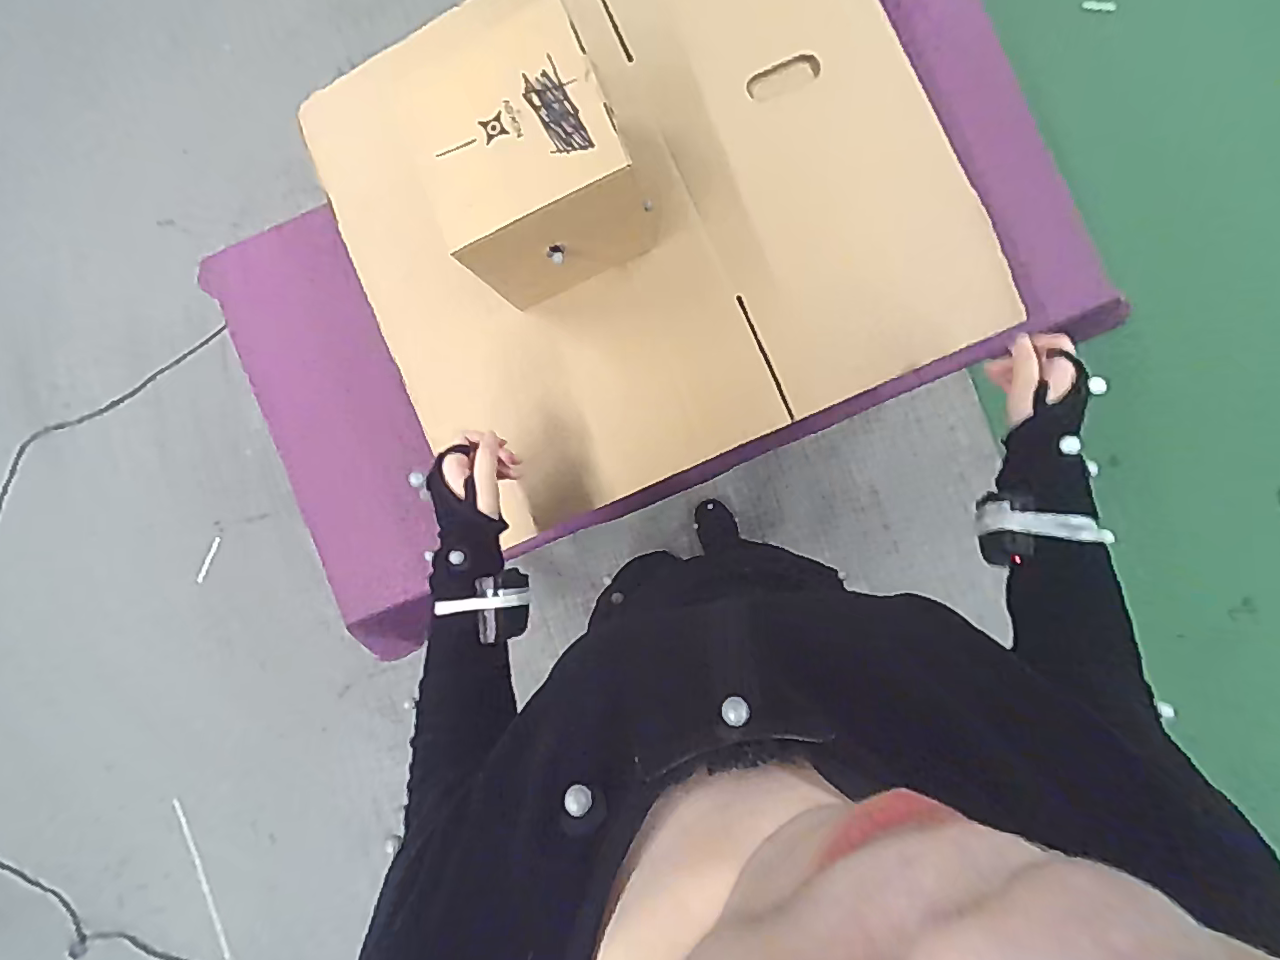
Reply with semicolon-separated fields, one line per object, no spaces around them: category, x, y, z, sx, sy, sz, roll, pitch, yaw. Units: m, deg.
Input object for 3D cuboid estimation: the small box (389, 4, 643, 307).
small box;-0.106;-0.303;0.550;0.179;0.176;0.168;-23;87;10
